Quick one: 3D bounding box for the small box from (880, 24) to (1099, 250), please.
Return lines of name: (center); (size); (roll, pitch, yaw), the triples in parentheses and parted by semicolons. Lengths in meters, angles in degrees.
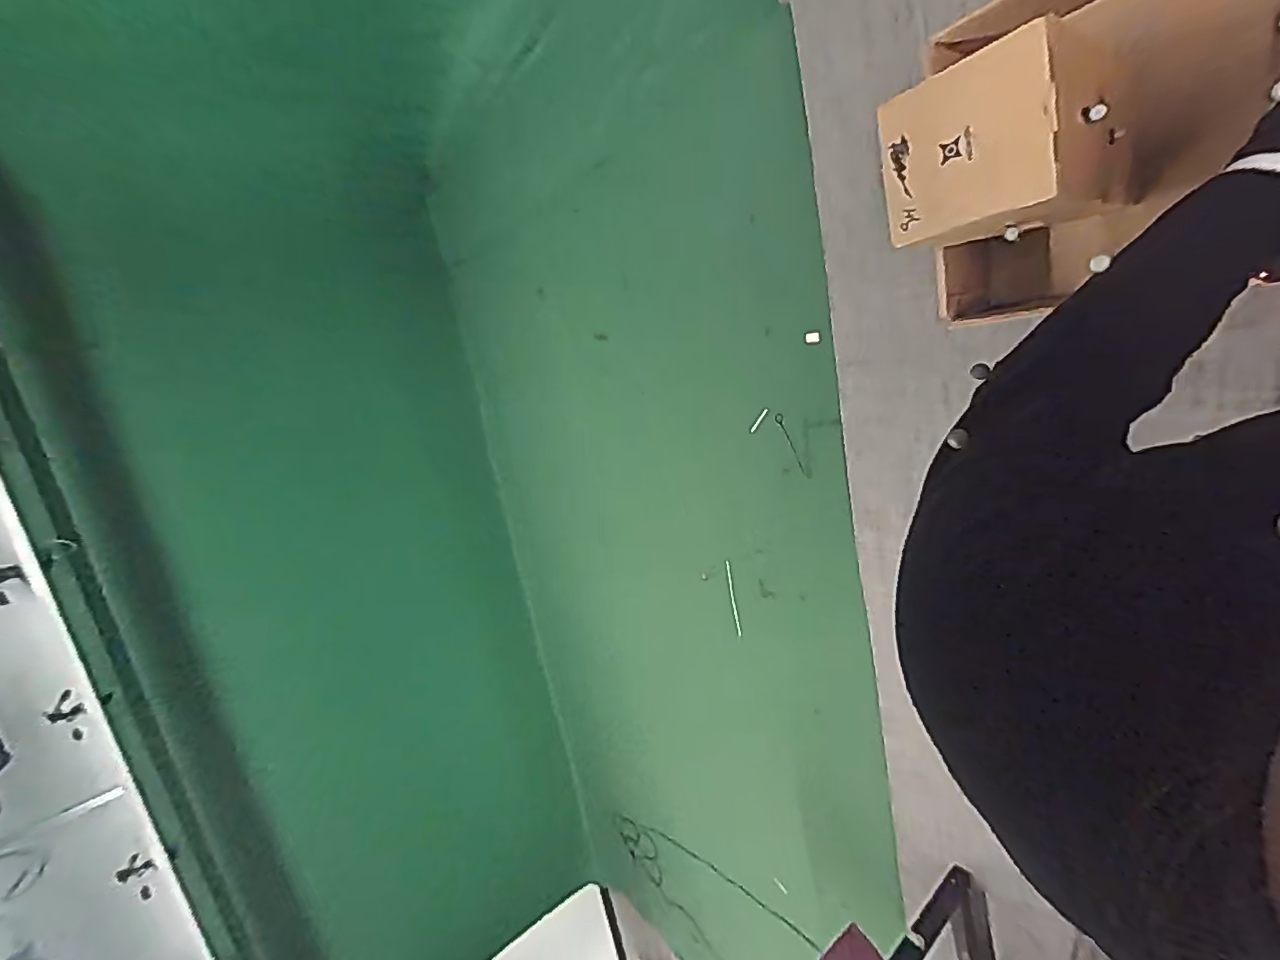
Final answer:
small box: (0.417, -0.386, 0.643); (0.179, 0.176, 0.168); (4, 109, 54)
